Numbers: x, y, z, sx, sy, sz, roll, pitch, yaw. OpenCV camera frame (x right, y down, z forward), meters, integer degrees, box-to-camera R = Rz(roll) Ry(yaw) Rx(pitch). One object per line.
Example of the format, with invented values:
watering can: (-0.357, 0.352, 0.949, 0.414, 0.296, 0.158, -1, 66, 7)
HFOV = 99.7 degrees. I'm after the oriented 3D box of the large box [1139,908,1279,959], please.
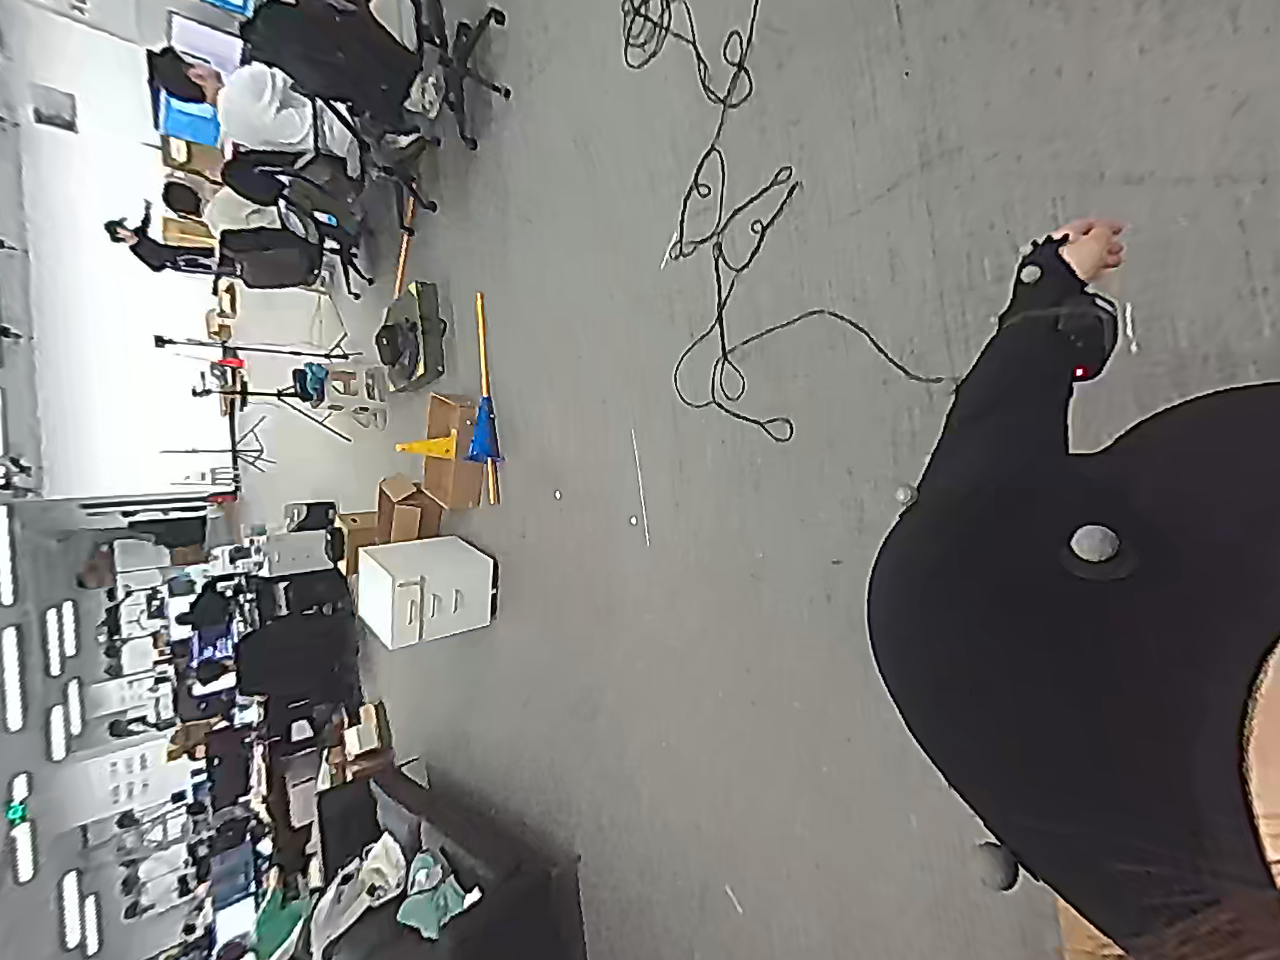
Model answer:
large box: (1.112, 1.020, 0.880, 0.408, 0.320, 0.320, -11, 84, 47)
